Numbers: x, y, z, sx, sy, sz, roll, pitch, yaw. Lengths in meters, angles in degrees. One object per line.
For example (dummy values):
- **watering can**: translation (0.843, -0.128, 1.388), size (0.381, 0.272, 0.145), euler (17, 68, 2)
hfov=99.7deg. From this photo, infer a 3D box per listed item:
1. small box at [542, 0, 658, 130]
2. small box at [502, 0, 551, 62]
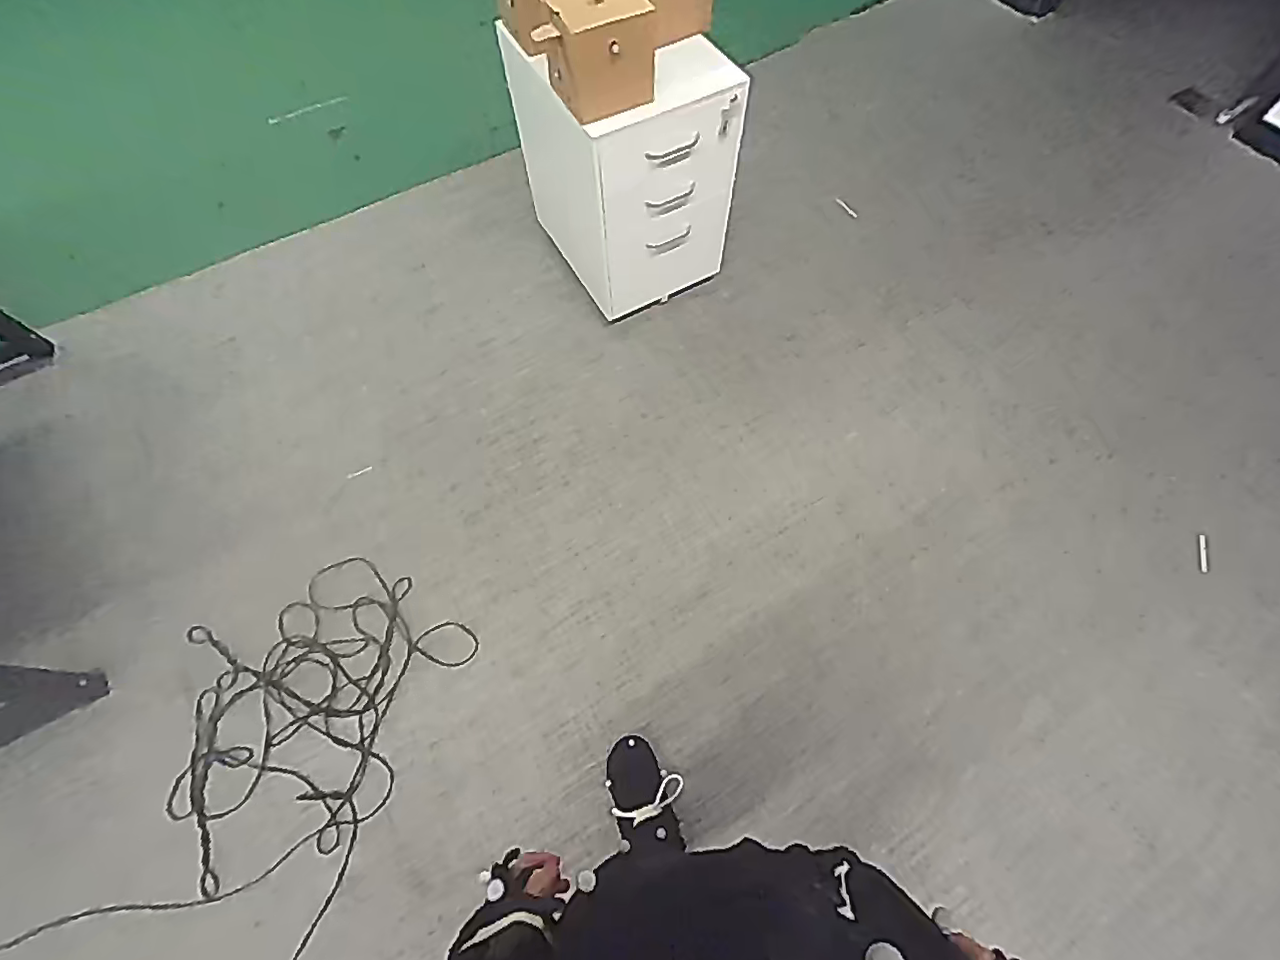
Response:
- **small box**: translation (-0.078, -0.862, 1.107), size (0.179, 0.176, 0.168), euler (-27, 67, -11)
- **small box**: translation (-0.210, -1.081, 1.212), size (0.179, 0.176, 0.168), euler (-26, 69, -13)
